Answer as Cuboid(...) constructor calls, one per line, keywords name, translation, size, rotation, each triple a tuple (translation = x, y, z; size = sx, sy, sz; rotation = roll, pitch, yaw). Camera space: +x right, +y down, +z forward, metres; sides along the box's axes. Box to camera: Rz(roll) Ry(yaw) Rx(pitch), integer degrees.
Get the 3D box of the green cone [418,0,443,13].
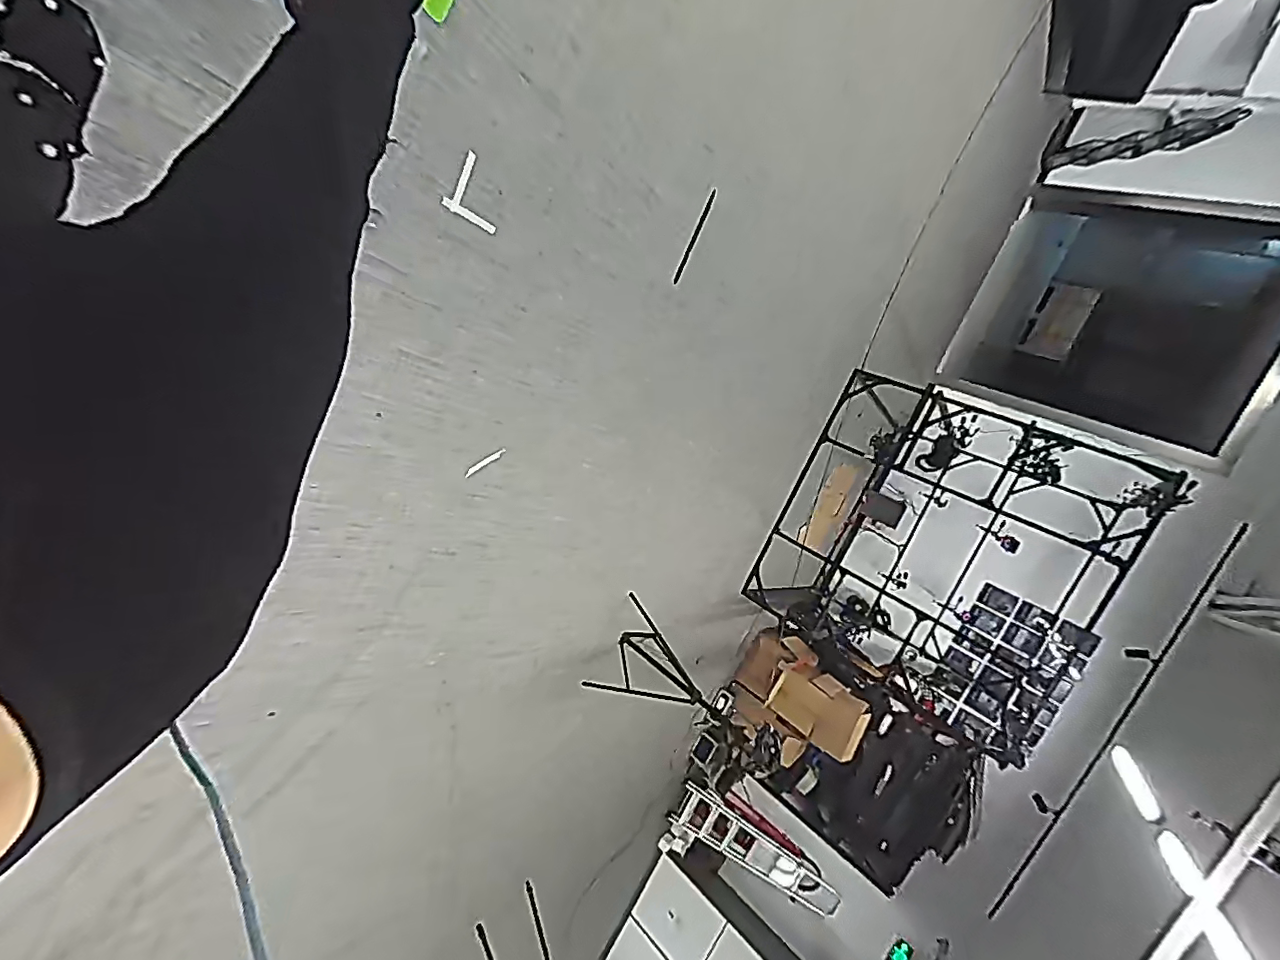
Cuboid(name="green cone", translation=(-0.351, -1.093, 1.062), size=(0.202, 0.368, 0.200), rotation=(21, 98, -58))
